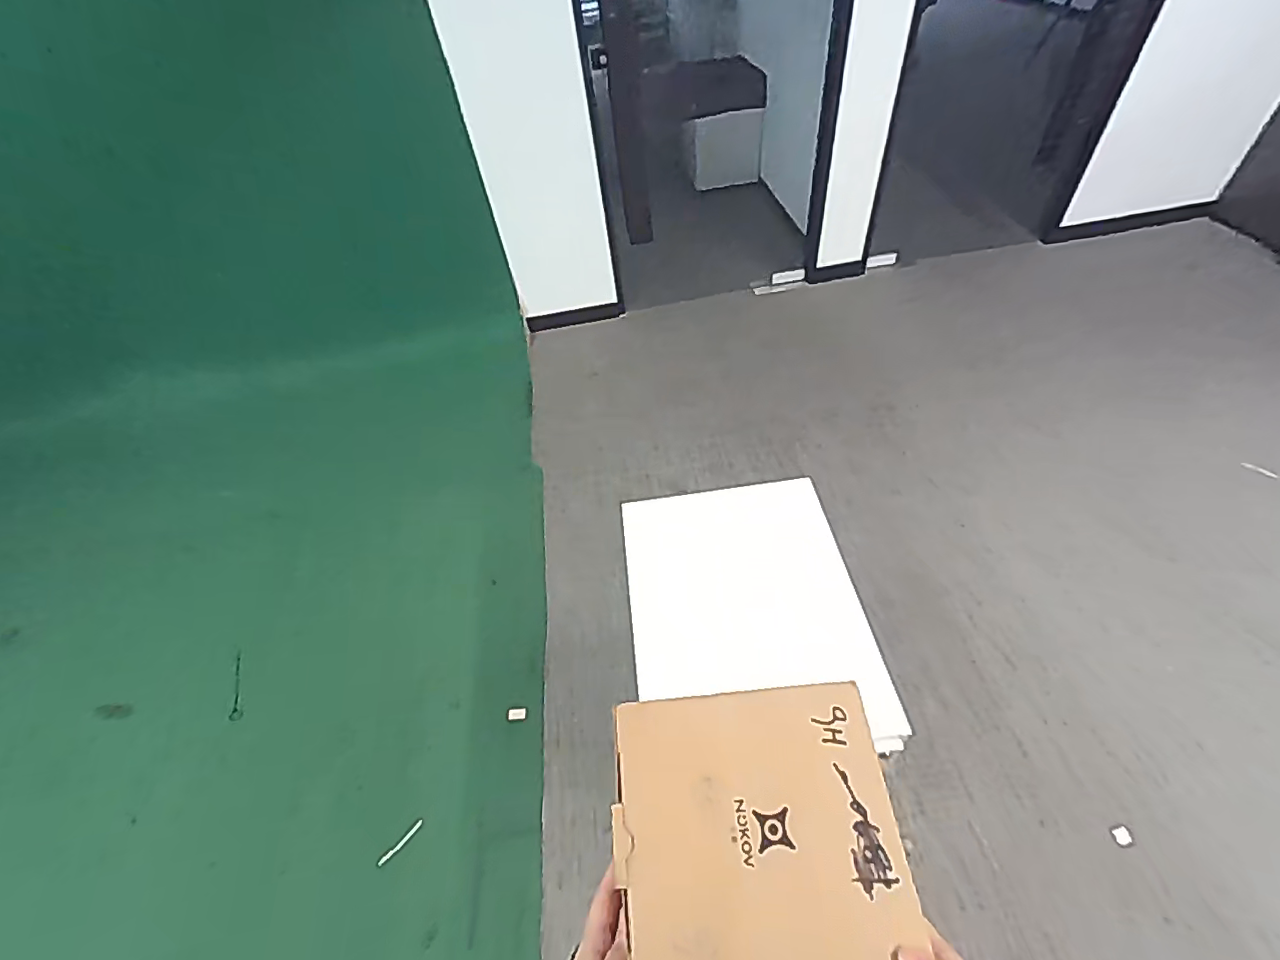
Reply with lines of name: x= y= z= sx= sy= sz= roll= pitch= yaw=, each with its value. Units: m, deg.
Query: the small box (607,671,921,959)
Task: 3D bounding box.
small box: x=0.072 y=0.256 z=0.414 sx=0.179 sy=0.176 sz=0.168 roll=-5 pitch=58 yaw=-1
